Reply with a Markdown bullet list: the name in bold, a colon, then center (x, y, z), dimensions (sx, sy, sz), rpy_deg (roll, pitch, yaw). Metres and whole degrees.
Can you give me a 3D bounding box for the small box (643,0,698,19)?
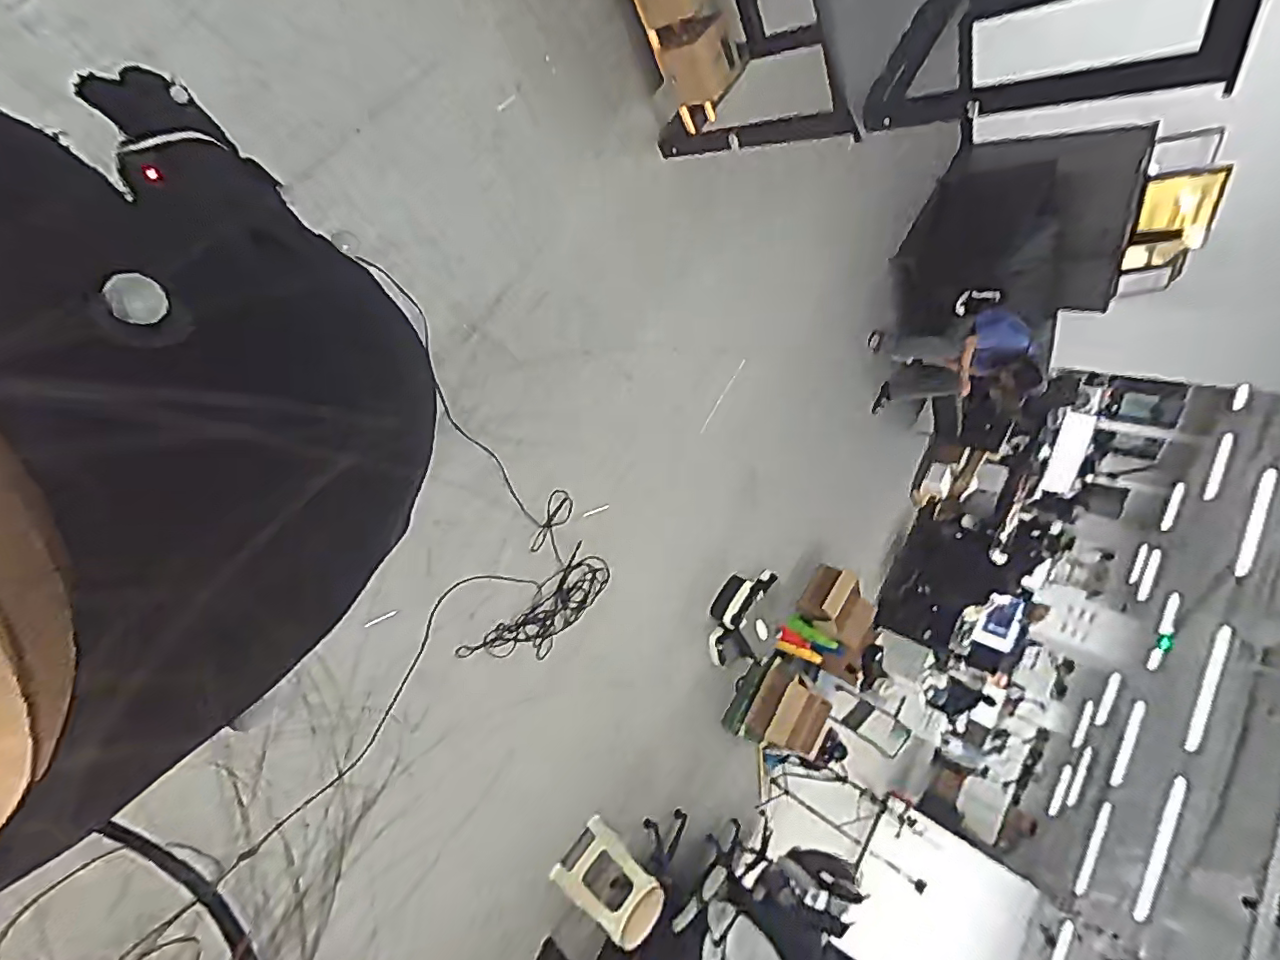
- **small box**: center (0.096, -1.467, 1.538), dimensions (0.179, 0.176, 0.168), rpy_deg (-57, 140, -13)
